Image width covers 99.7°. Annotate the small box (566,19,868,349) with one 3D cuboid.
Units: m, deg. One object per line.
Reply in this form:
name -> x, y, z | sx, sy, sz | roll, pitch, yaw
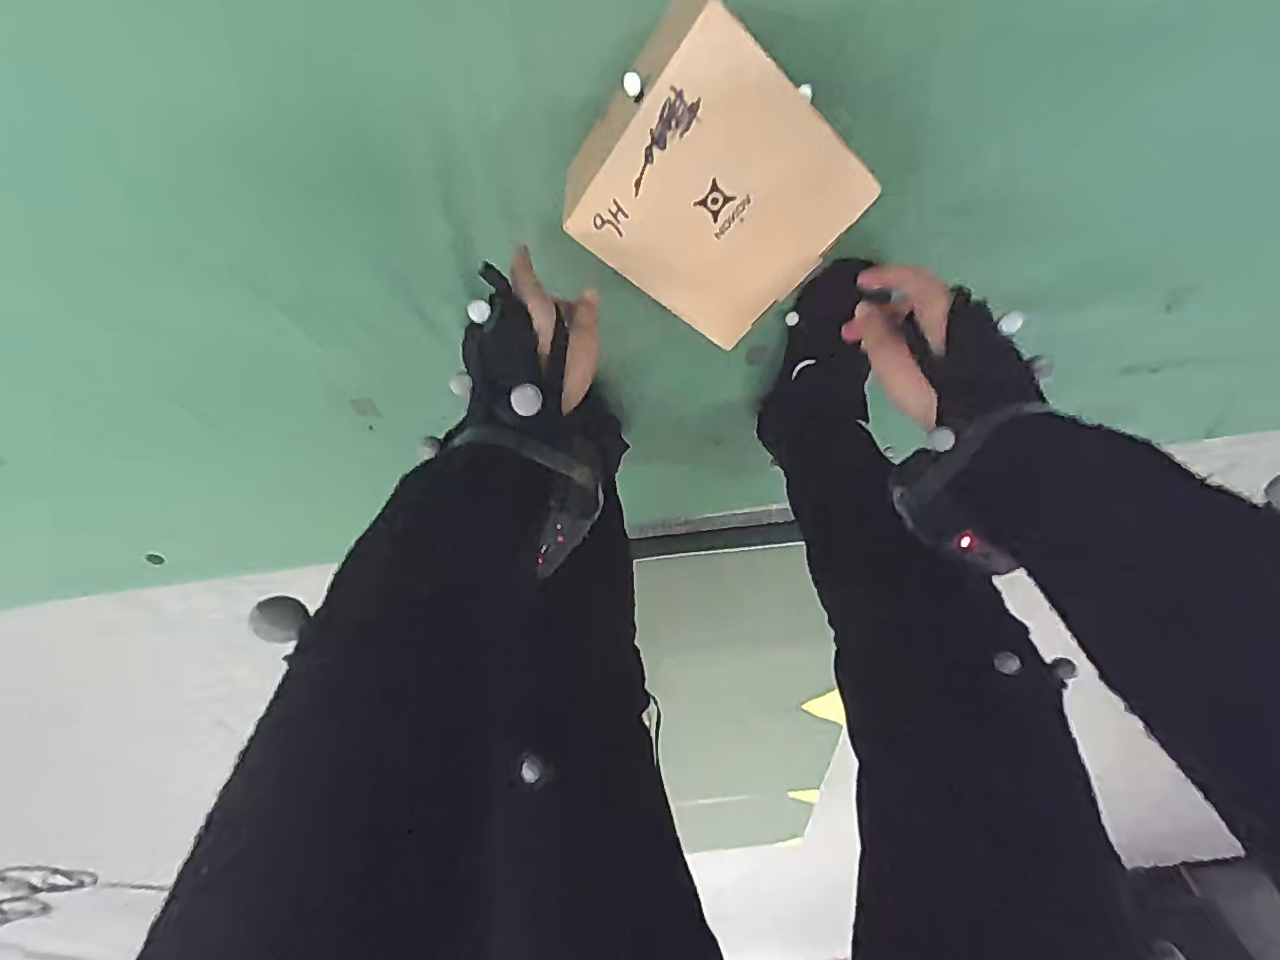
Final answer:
small box -> 0.054, -0.256, 0.470 | 0.179, 0.176, 0.168 | 28, 124, -27
